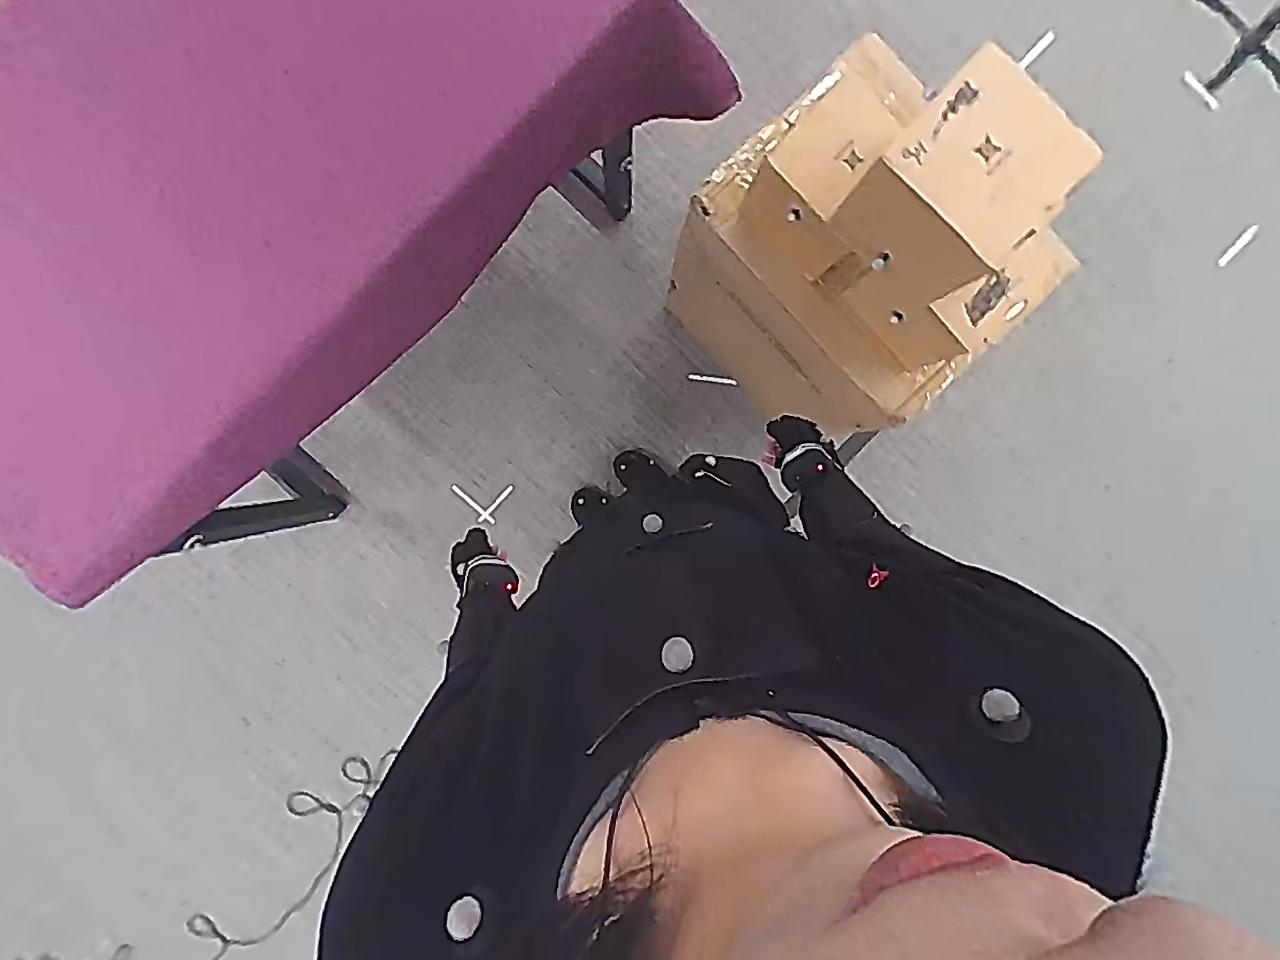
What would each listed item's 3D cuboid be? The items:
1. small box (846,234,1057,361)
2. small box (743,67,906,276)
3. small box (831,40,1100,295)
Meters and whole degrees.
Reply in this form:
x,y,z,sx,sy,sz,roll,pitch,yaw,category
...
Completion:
x,y,z,sx,sy,sz,roll,pitch,yaw,category
0.450,-0.297,0.811,0.168,0.176,0.179,-42,90,1,small box
0.279,-0.438,0.804,0.179,0.176,0.168,44,92,-4,small box
0.367,-0.345,0.646,0.179,0.176,0.168,43,92,-2,small box
